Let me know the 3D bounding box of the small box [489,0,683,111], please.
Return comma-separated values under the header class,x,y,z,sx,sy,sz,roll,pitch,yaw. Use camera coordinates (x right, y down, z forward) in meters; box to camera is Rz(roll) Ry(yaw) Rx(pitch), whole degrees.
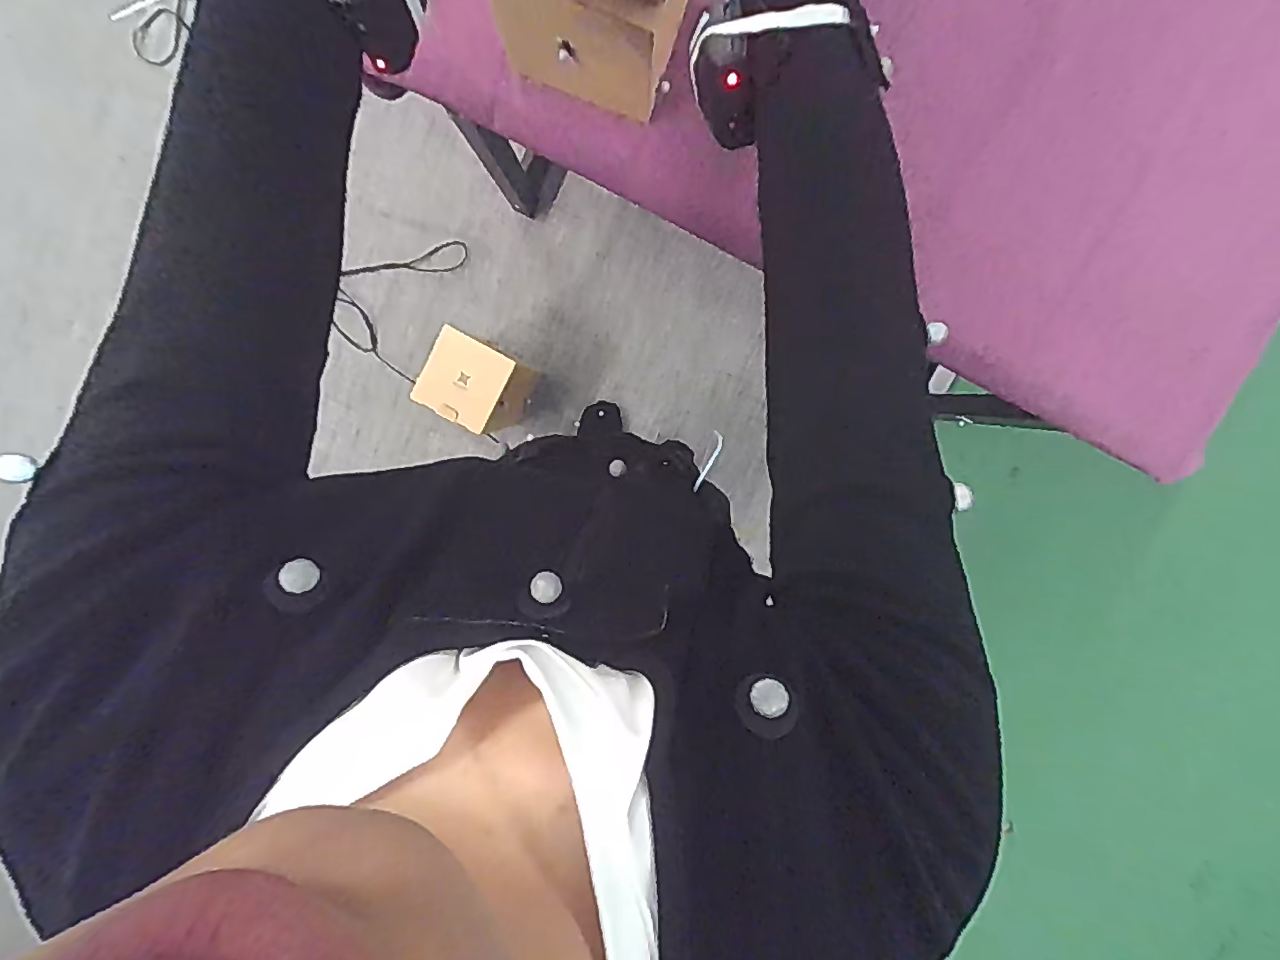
class,x,y,z,sx,sy,sz,roll,pitch,yaw
small box,-0.046,-0.537,0.575,0.179,0.176,0.168,19,97,-4
